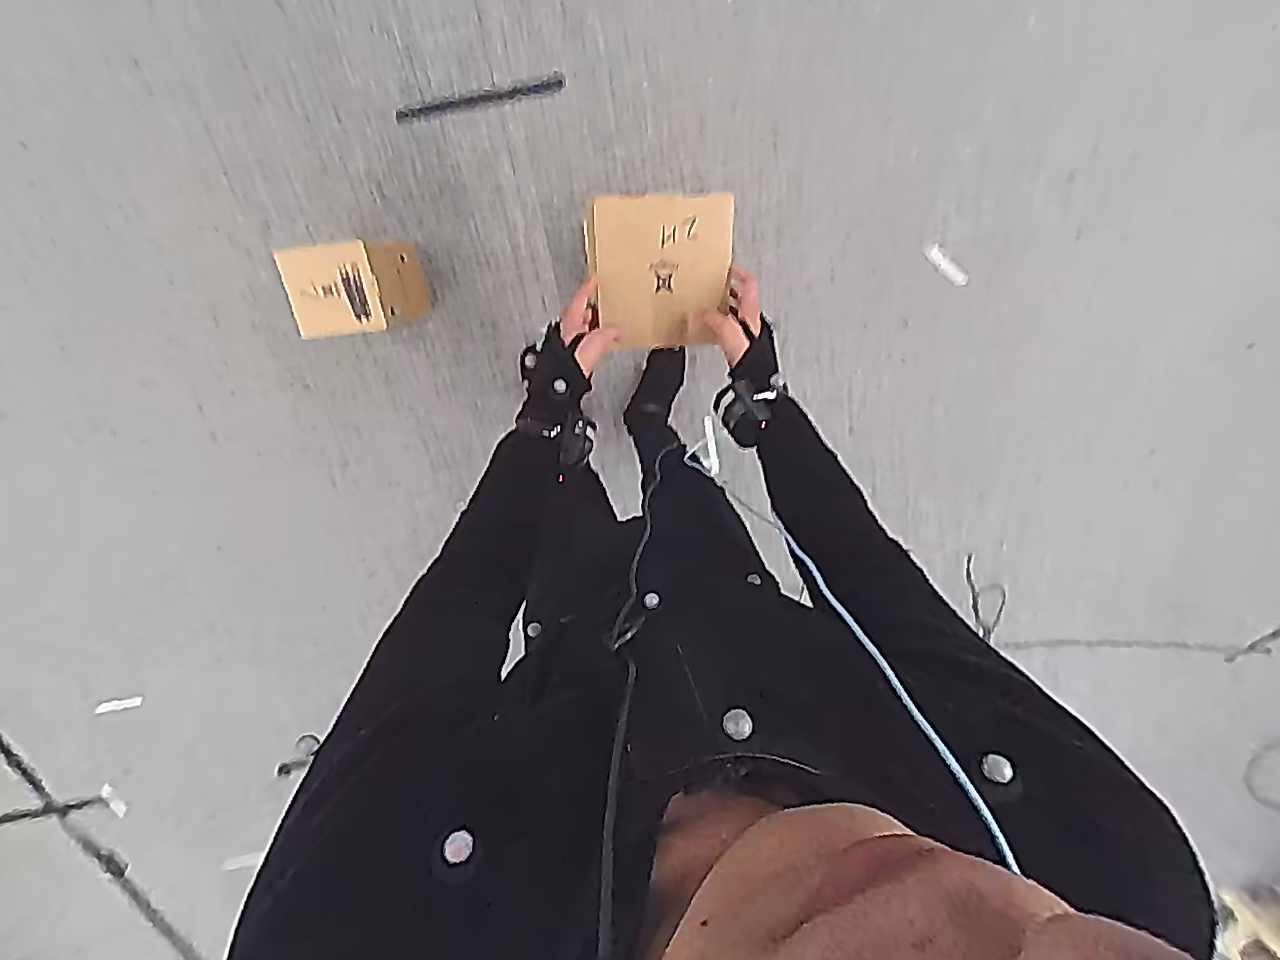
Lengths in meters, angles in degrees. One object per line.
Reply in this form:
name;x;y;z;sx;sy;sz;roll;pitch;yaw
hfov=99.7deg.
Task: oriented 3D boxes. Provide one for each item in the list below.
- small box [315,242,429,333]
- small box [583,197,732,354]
small box;-0.621;-0.458;1.279;0.168;0.176;0.179;-9;112;-1
small box;0.013;-0.275;0.715;0.168;0.176;0.179;-4;116;-8
